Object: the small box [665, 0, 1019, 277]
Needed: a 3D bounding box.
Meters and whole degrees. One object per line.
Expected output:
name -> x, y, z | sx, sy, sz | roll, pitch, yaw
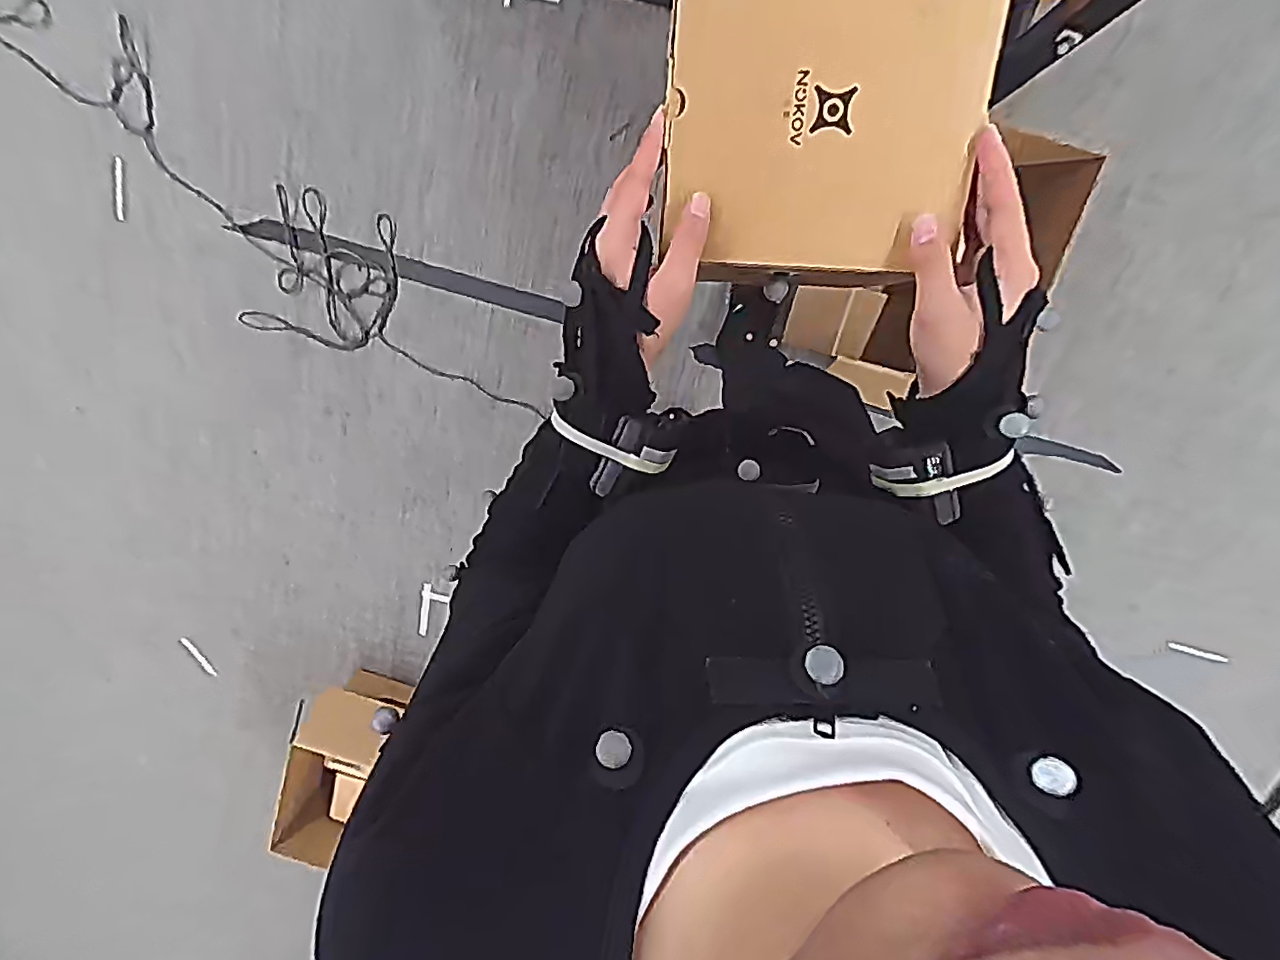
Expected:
small box -> 0.110, -0.233, 0.371 | 0.179, 0.176, 0.168 | 4, 108, 2
